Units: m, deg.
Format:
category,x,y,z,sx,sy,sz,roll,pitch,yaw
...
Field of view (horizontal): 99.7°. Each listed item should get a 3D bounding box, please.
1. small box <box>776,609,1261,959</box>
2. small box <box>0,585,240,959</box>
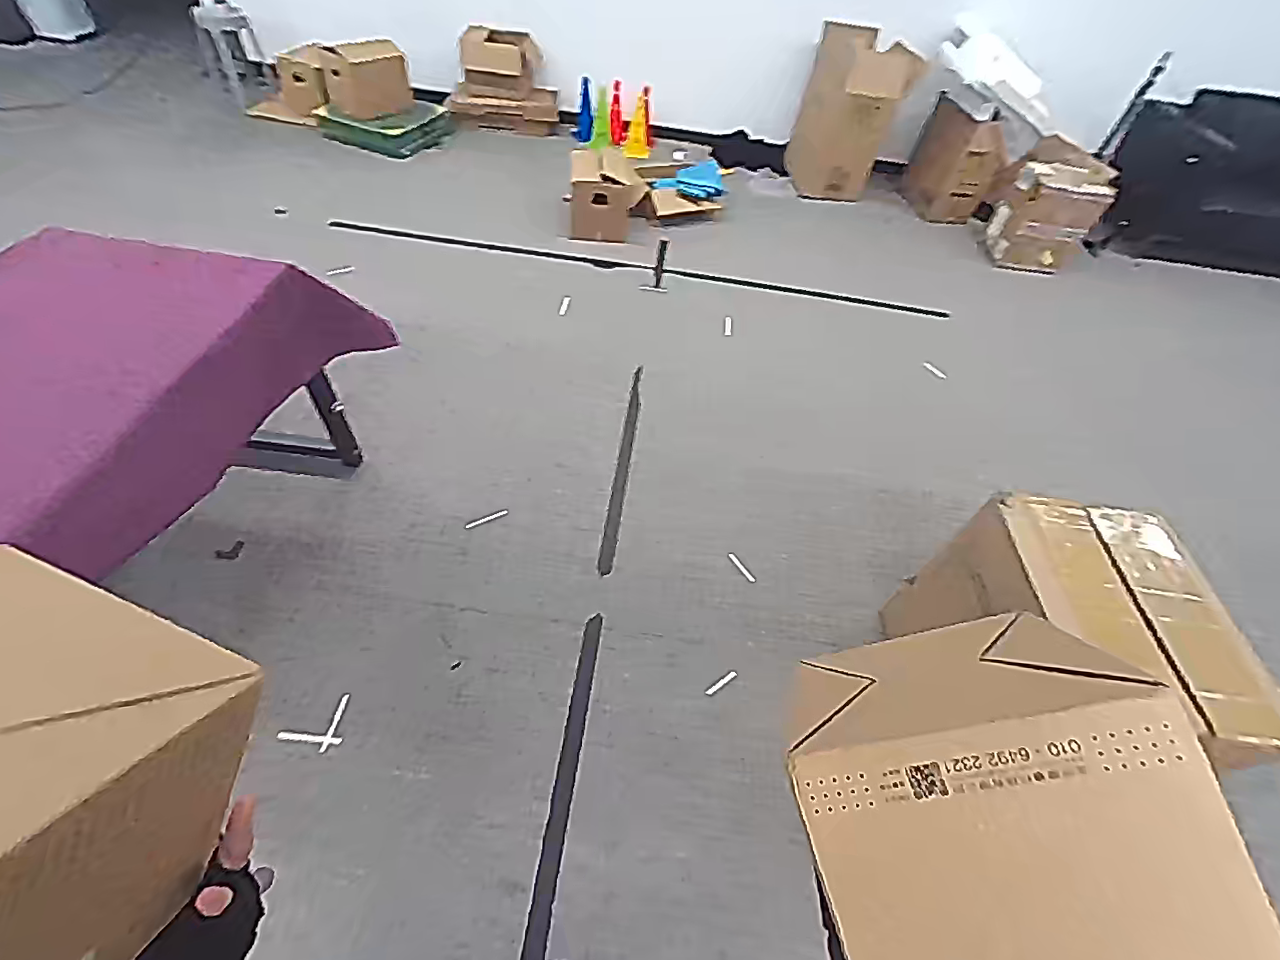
category,x,y,z,sx,sy,sz,roll,pitch,yaw
small box,0.188,0.184,0.313,0.168,0.179,0.176,-21,81,15
small box,-0.318,0.158,0.228,0.168,0.176,0.179,20,11,2
